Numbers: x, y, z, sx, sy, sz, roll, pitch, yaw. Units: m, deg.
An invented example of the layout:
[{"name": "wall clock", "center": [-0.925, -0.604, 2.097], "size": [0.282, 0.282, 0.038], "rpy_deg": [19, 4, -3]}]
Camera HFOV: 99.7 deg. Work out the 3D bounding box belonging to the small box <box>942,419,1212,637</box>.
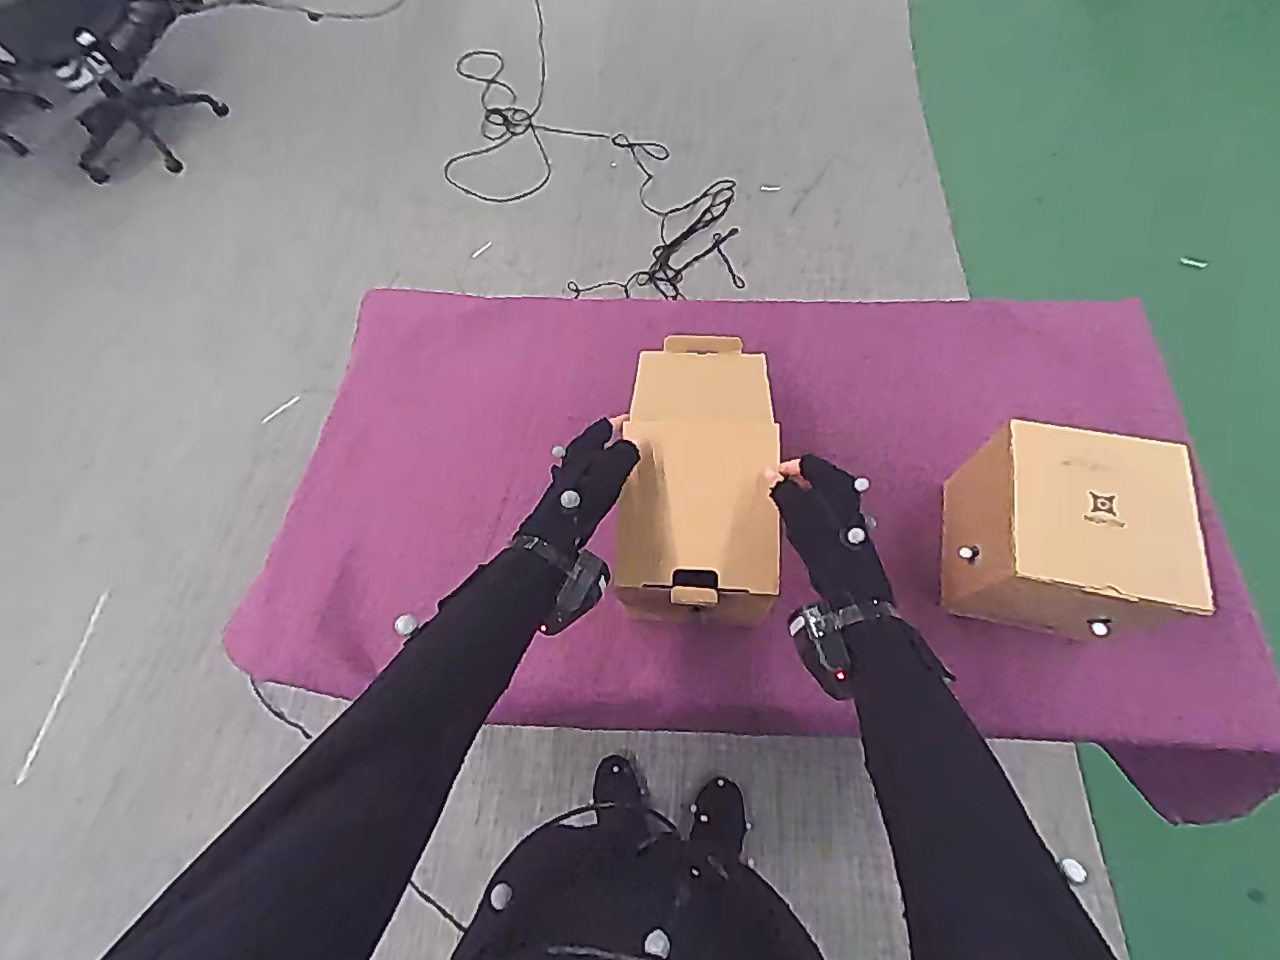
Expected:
[{"name": "small box", "center": [0.453, 0.061, 0.594], "size": [0.168, 0.176, 0.179], "rpy_deg": [11, 66, 10]}]
